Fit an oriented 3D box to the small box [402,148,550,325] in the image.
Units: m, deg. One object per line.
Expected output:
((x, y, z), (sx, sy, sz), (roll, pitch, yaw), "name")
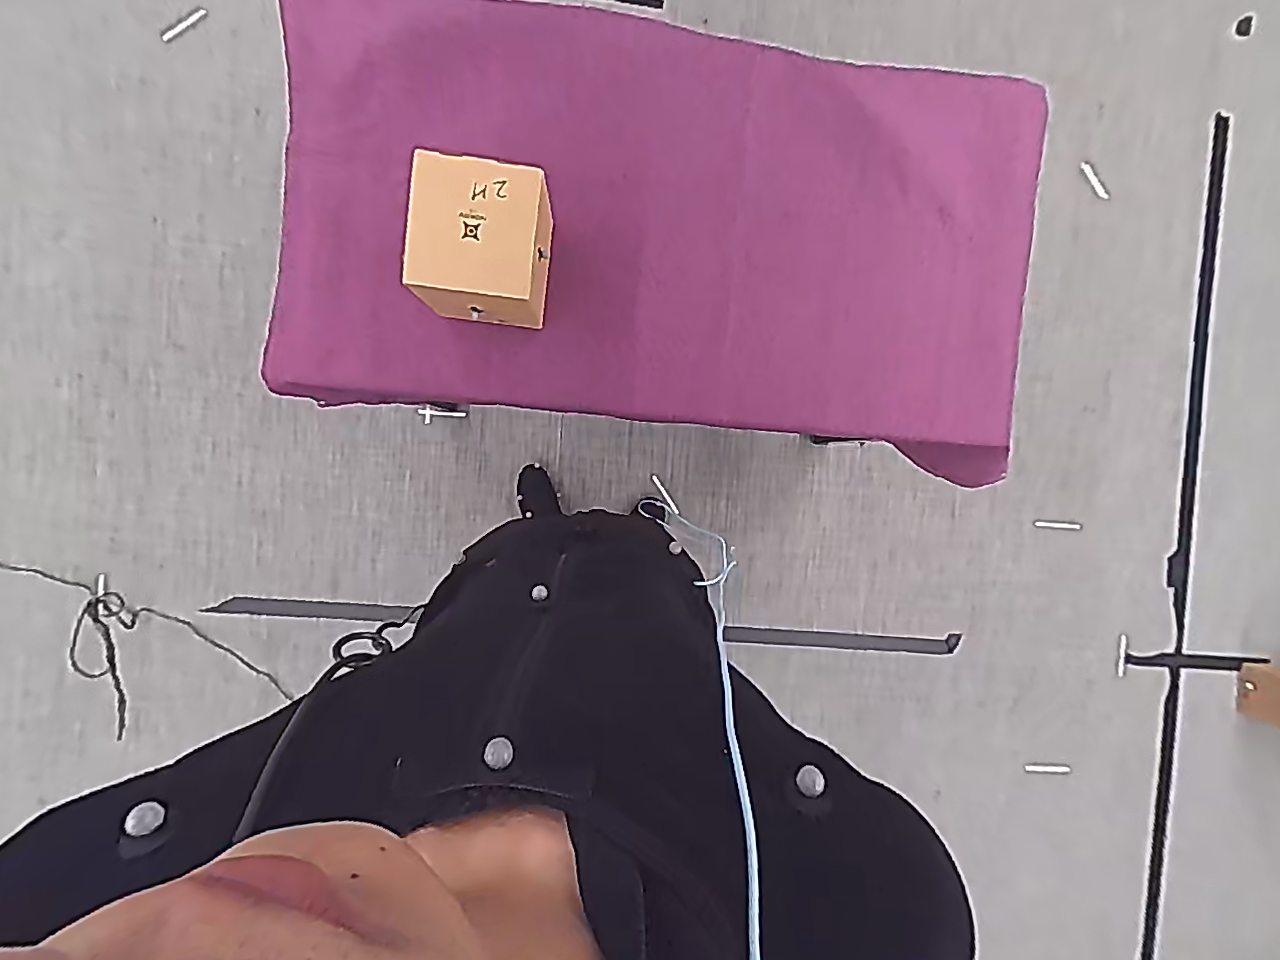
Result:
((-0.224, -0.334, 0.780), (0.168, 0.176, 0.179), (6, 92, -5), "small box")
